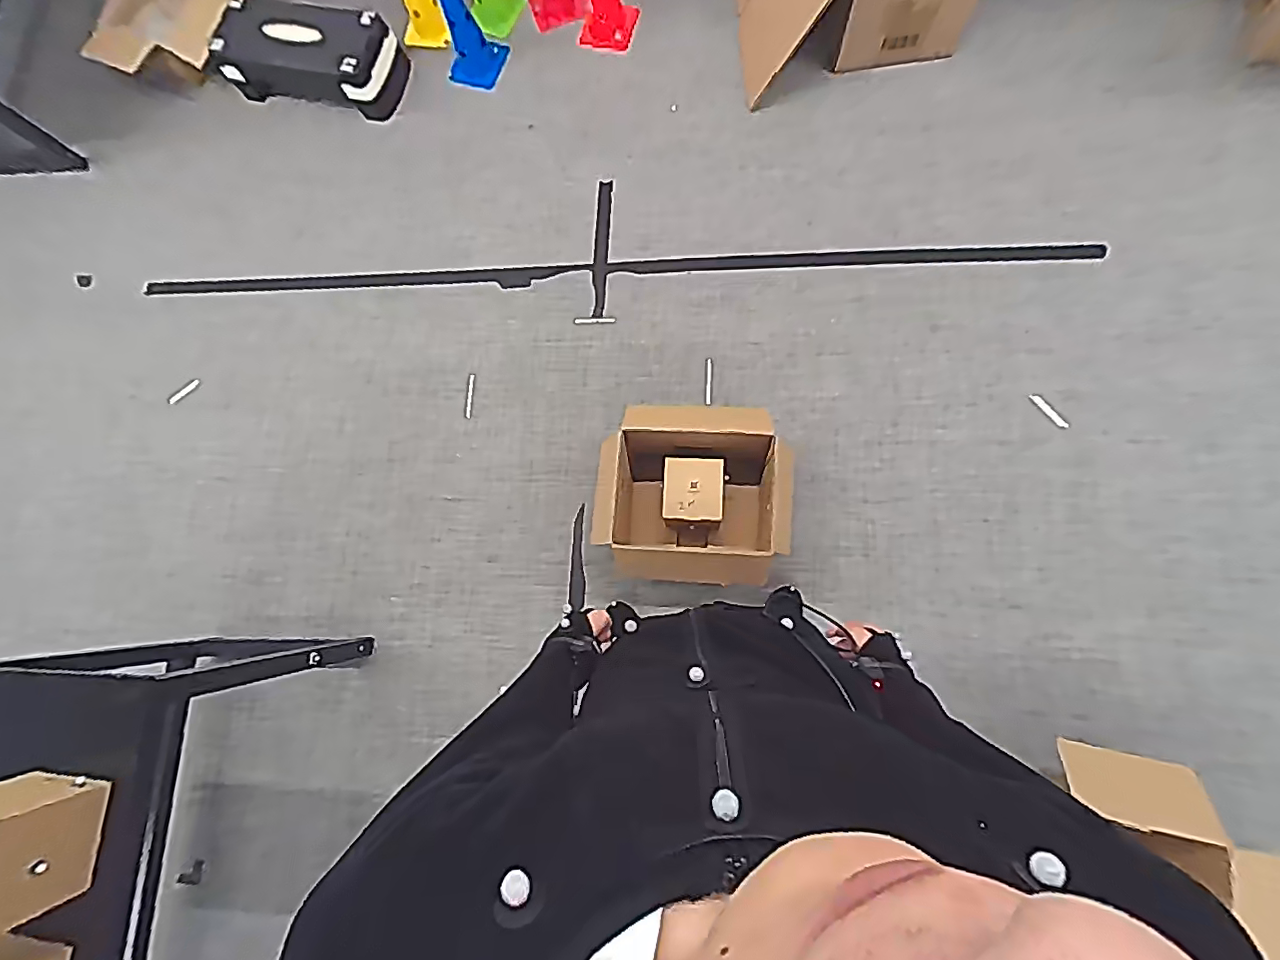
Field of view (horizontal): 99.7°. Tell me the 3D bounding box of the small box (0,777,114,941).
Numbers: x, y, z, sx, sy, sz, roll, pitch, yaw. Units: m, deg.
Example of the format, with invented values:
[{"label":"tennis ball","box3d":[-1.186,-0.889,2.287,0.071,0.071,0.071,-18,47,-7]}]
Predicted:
[{"label":"small box","box3d":[-1.026,0.611,0.884,0.168,0.176,0.179,2,81,8]}]
